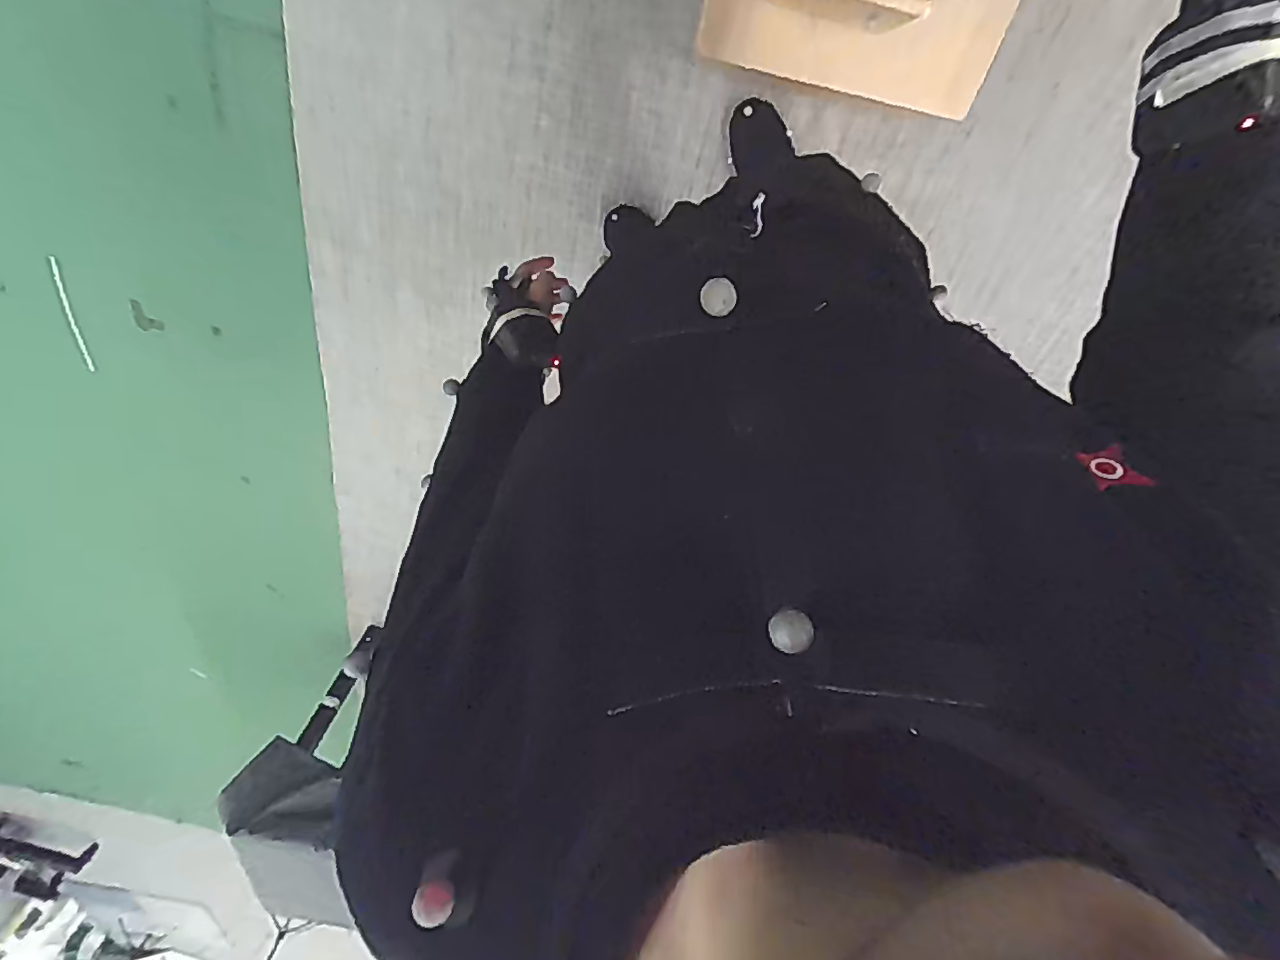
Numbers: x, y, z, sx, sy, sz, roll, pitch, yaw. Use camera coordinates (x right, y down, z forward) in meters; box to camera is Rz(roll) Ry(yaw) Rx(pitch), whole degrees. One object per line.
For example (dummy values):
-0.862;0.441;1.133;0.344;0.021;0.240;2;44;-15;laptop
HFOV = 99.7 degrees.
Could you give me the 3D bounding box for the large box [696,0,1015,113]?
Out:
0.313;-0.772;0.807;0.408;0.320;0.320;11;126;-3;large box
